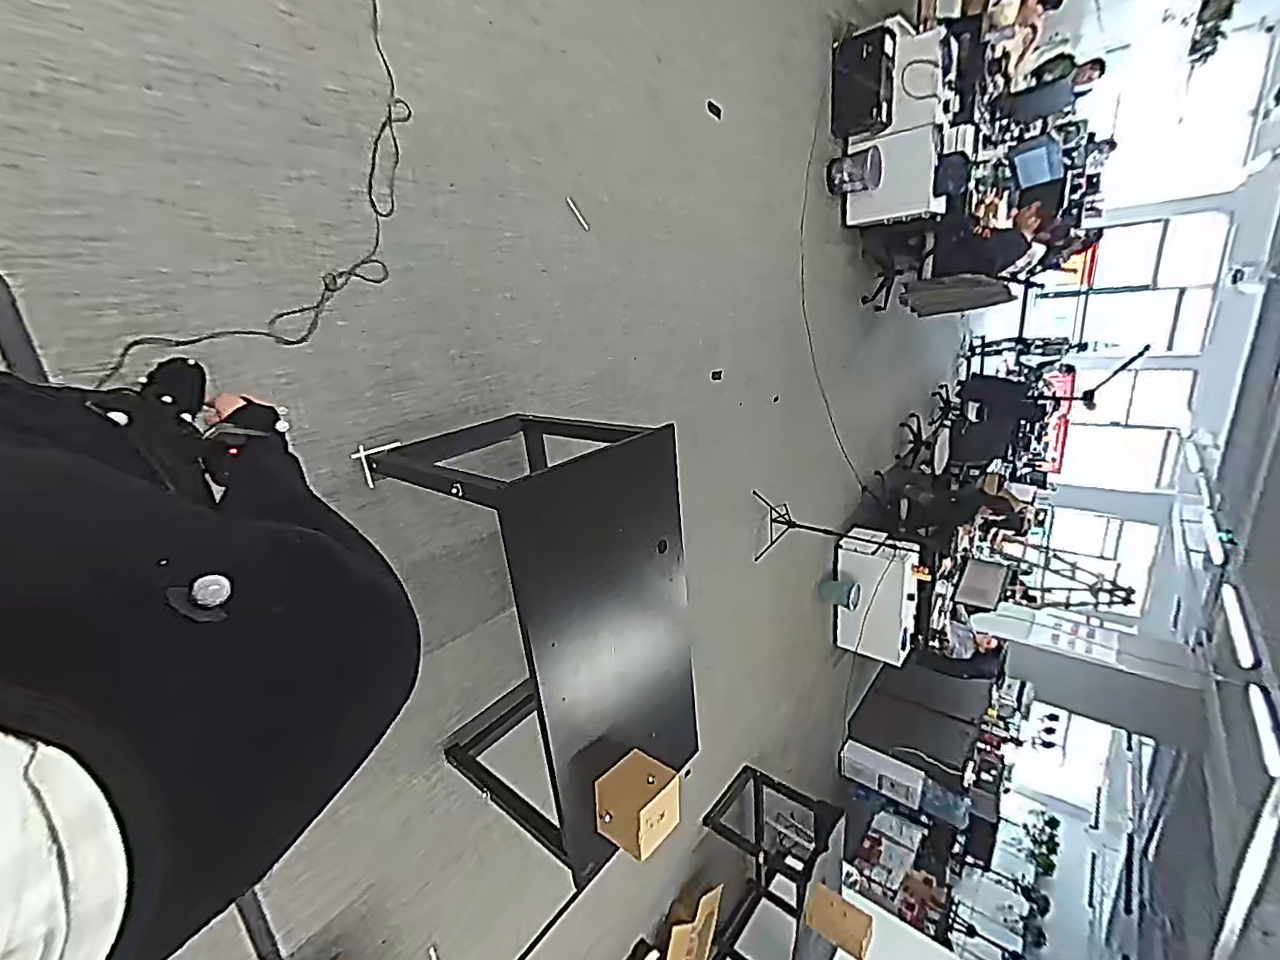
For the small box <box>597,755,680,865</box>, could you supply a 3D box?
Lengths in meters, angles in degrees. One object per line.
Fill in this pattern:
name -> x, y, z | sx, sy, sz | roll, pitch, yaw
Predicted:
small box -> -0.004, 0.922, 1.534 | 0.179, 0.176, 0.168 | -15, 108, -48
